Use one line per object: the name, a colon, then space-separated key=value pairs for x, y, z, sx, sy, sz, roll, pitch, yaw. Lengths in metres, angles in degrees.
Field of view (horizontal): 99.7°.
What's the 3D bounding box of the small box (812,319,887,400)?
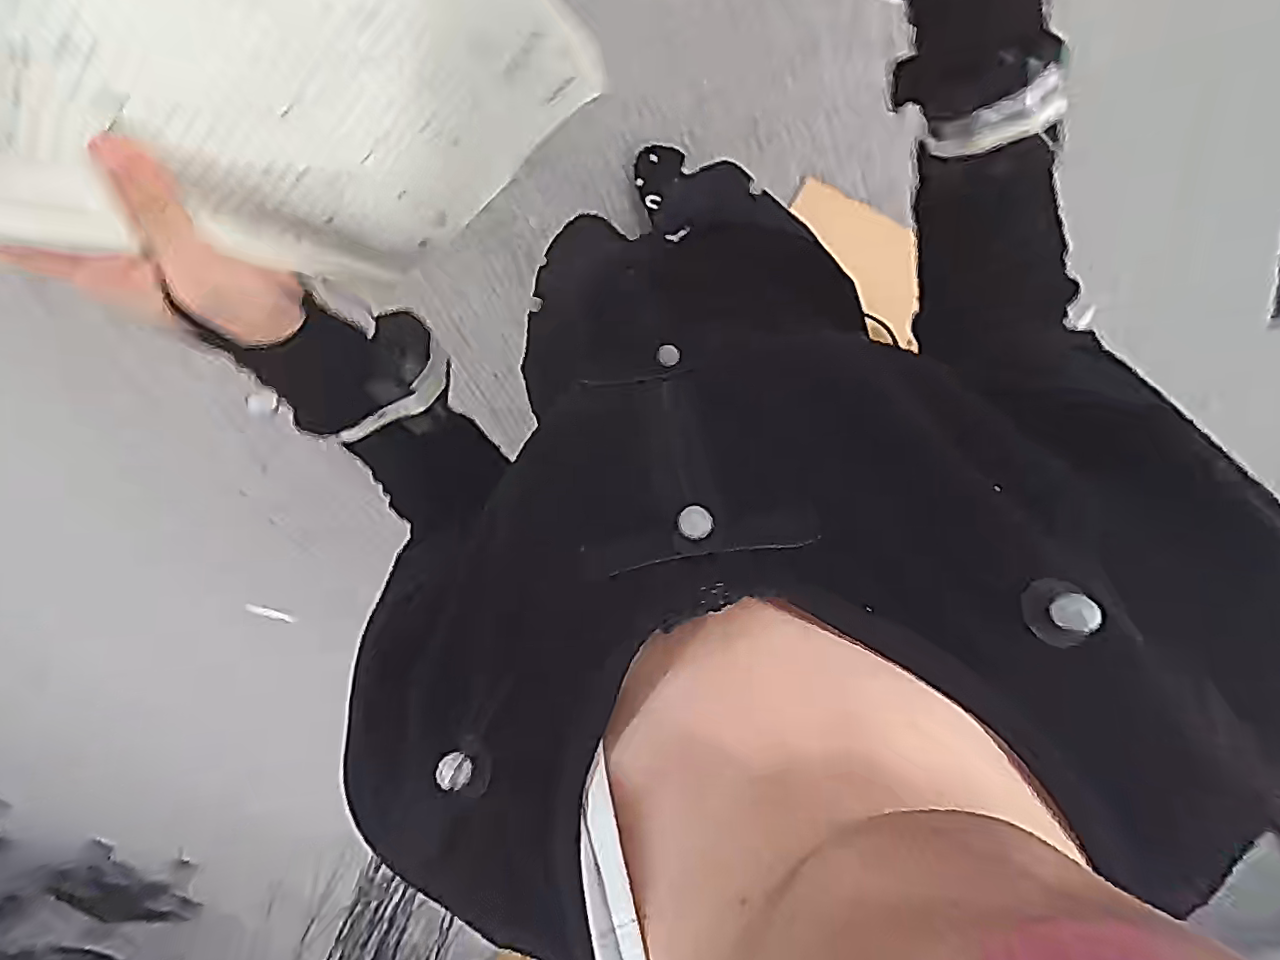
small box: x=0.571 y=-0.291 z=1.376 sx=0.179 sy=0.176 sz=0.168 roll=18 pitch=118 yaw=-11
